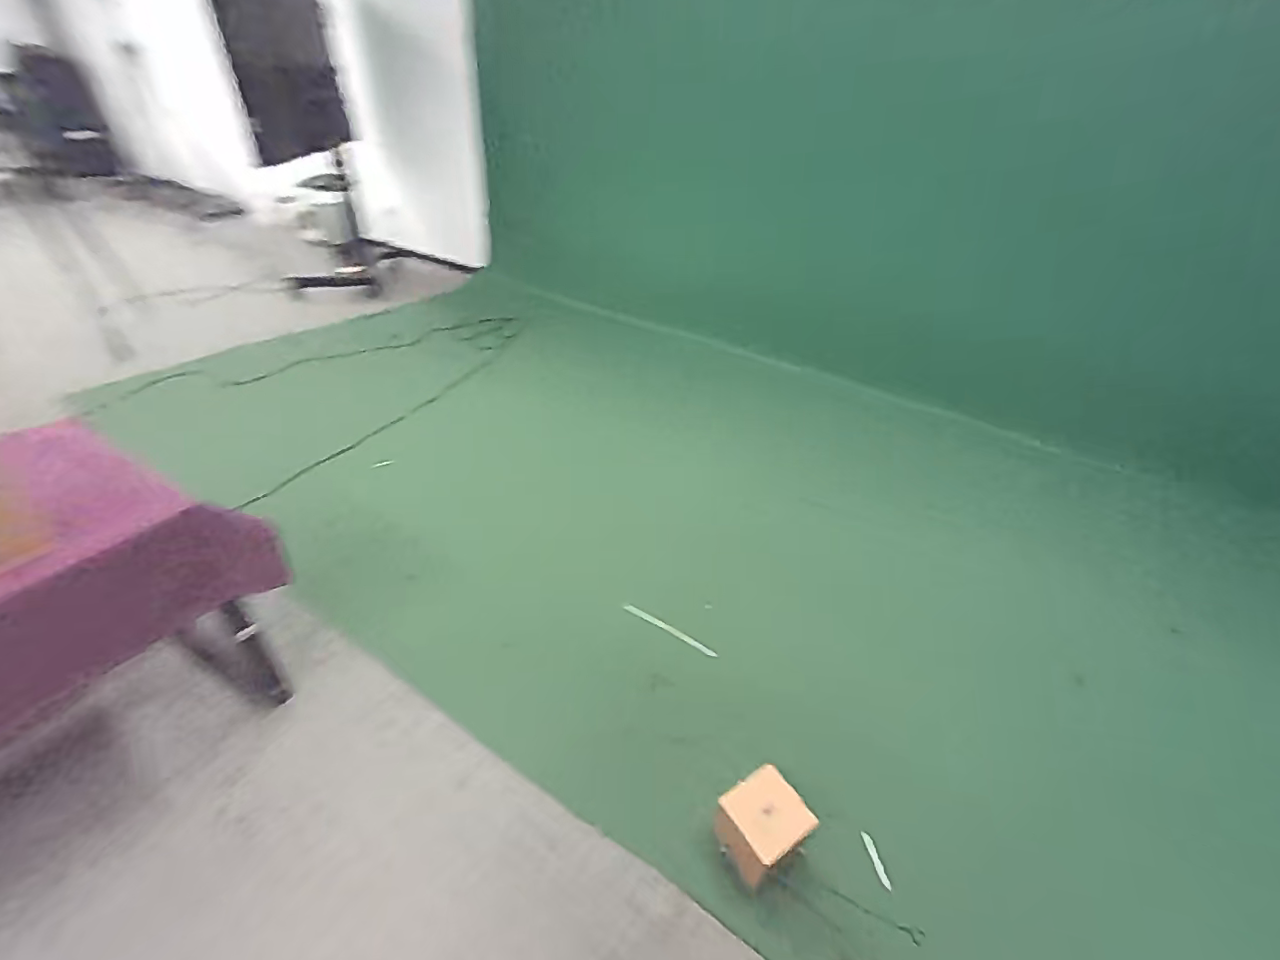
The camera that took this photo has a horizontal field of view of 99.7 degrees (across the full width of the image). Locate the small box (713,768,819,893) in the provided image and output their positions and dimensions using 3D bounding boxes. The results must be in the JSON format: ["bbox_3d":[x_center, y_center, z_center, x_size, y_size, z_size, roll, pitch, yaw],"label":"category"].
[{"bbox_3d":[0.301,0.858,1.326,0.179,0.176,0.168,-17,41,-28],"label":"small box"}]
